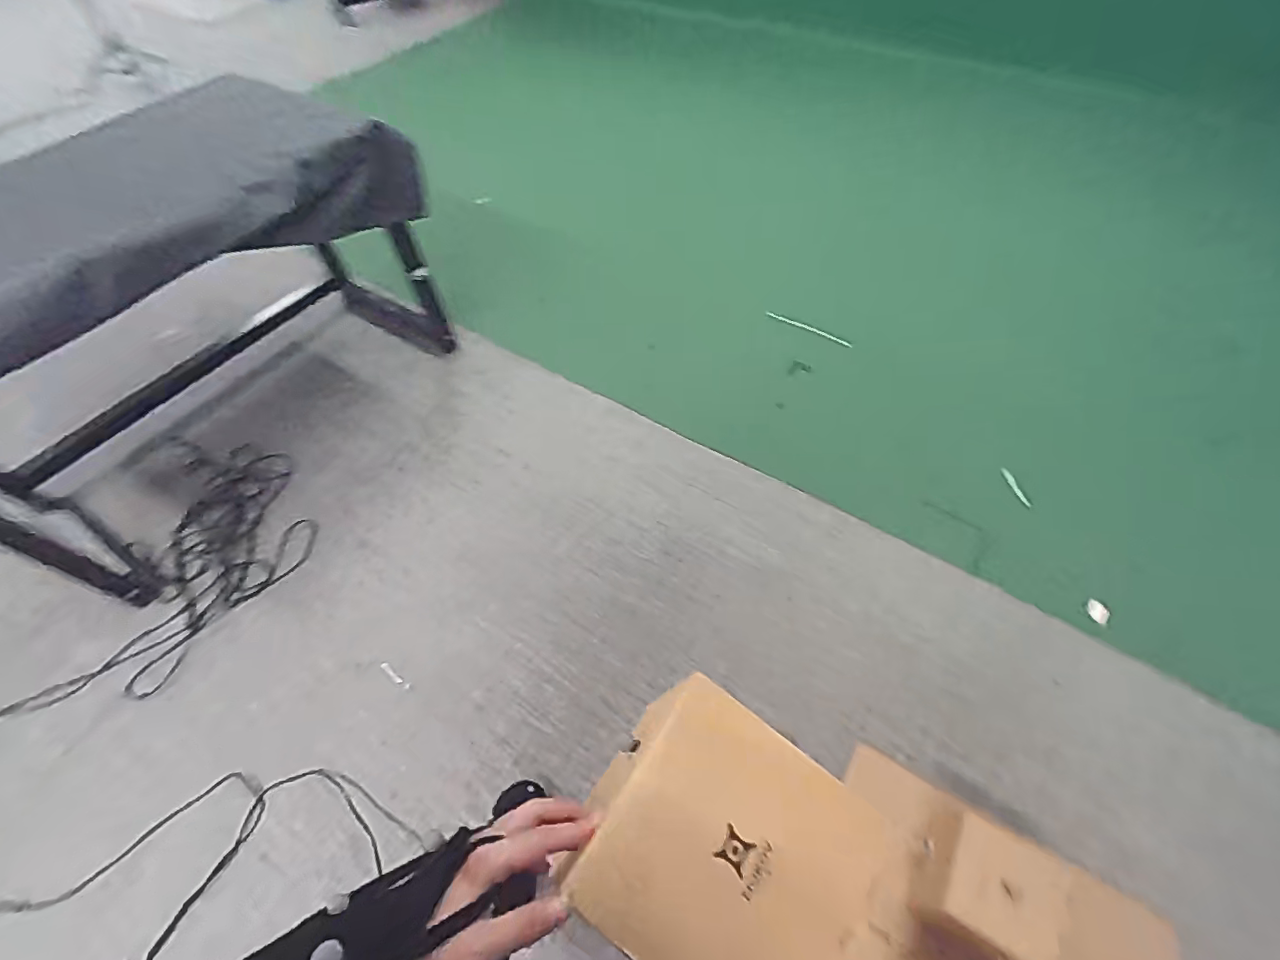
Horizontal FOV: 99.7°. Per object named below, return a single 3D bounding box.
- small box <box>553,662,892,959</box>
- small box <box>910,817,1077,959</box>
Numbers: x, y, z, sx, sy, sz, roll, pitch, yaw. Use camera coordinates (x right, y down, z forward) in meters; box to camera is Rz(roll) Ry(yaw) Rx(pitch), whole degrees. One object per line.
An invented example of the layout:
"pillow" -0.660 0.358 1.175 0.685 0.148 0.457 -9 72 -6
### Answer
"small box" 0.049 0.277 0.420 0.179 0.176 0.168 36 58 8
"small box" 0.614 0.729 0.954 0.179 0.176 0.168 26 60 20
